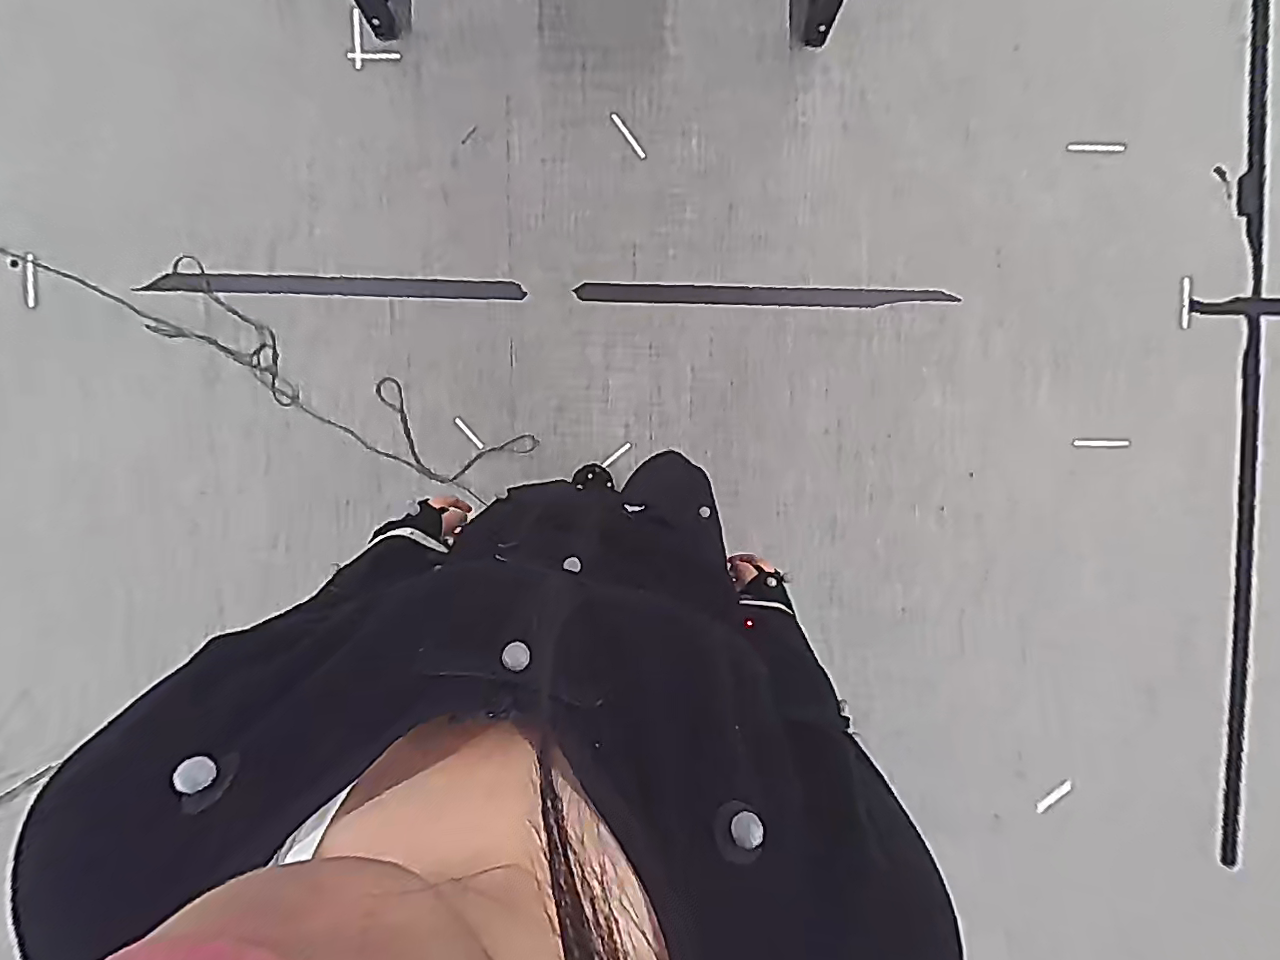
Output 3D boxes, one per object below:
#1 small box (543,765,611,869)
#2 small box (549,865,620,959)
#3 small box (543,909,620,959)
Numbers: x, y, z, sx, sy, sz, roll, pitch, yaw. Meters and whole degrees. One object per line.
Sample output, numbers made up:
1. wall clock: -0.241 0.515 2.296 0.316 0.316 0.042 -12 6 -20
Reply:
1. small box: -0.161 0.875 1.423 0.168 0.176 0.179 -2 93 -1
2. small box: -0.143 1.157 1.435 0.168 0.176 0.179 -7 92 -1
3. small box: -0.134 1.166 1.270 0.168 0.176 0.179 -5 93 -2
